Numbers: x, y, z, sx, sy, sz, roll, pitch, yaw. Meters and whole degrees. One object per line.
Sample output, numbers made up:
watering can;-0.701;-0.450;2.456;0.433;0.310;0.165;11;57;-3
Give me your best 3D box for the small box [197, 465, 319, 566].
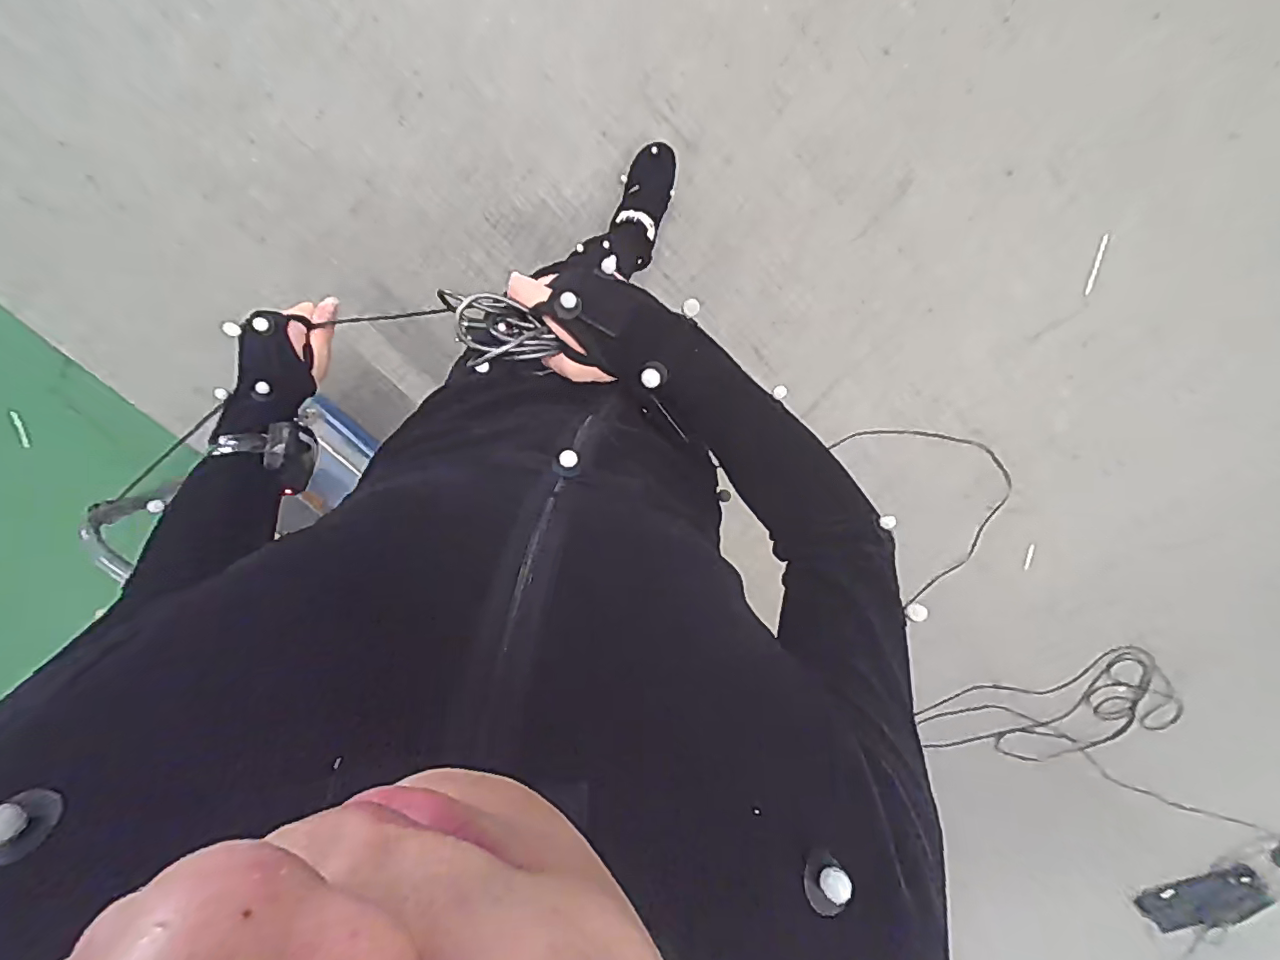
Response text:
small box;-1.012;0.091;1.448;0.179;0.176;0.168;-37;109;15
